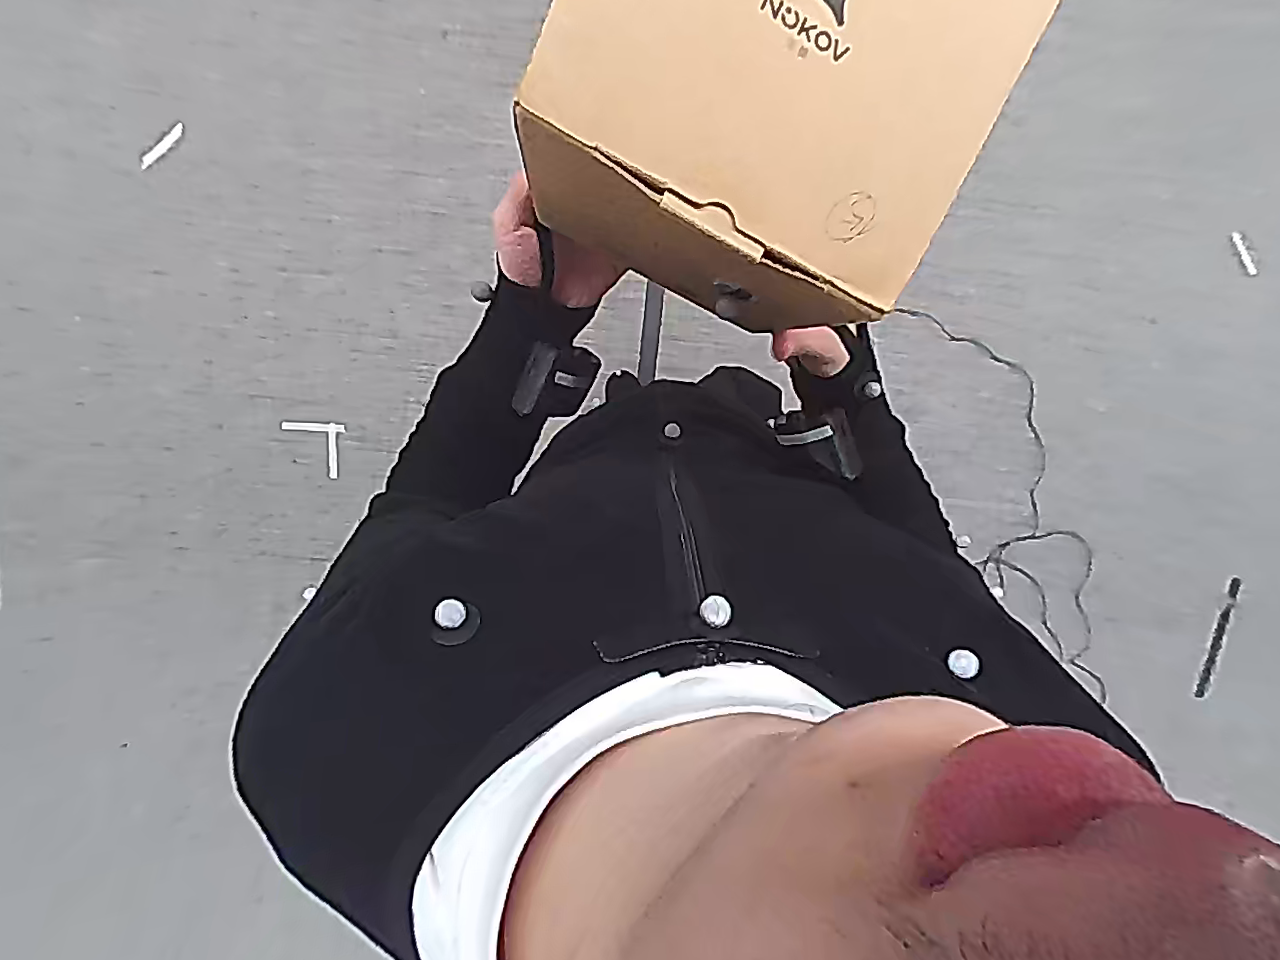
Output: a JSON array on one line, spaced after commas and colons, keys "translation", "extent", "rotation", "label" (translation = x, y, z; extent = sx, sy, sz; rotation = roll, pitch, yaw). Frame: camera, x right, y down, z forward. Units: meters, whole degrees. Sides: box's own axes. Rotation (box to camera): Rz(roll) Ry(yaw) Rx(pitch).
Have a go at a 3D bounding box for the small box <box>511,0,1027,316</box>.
[{"translation": [0.050, -0.200, 0.281], "extent": [0.168, 0.176, 0.179], "rotation": [24, 98, -13], "label": "small box"}]
